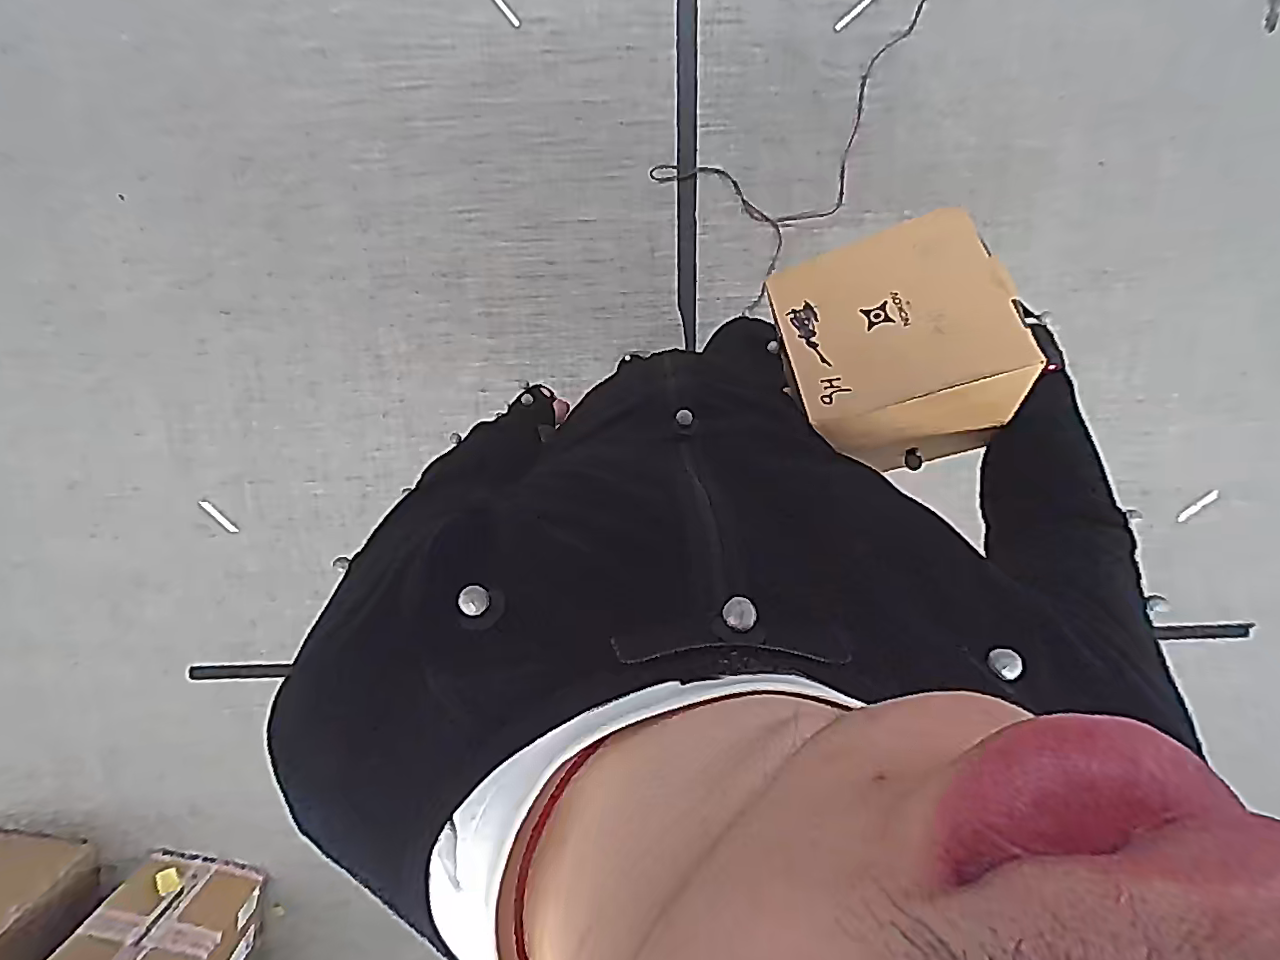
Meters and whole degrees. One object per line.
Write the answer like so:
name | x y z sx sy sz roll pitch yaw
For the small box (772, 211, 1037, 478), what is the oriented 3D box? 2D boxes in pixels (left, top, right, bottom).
small box | 0.244 -0.119 0.541 0.179 0.176 0.168 -16 66 15
